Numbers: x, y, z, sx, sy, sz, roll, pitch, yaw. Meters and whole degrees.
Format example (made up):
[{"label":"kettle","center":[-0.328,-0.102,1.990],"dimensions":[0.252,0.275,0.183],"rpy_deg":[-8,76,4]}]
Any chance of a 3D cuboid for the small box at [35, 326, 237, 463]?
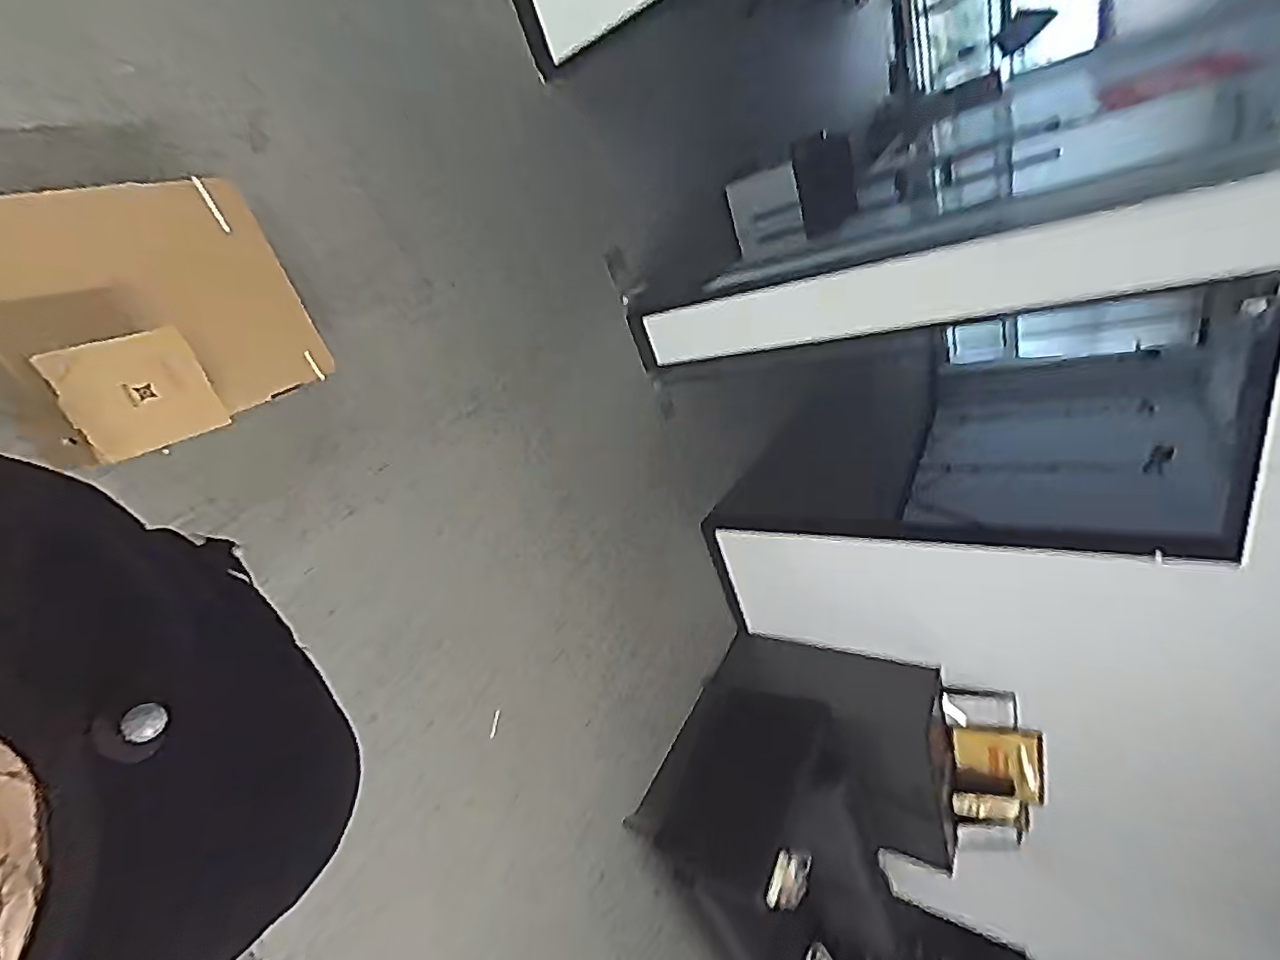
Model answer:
[{"label":"small box","center":[-0.803,-0.133,0.862],"dimensions":[0.179,0.176,0.168],"rpy_deg":[-40,122,-46]}]
